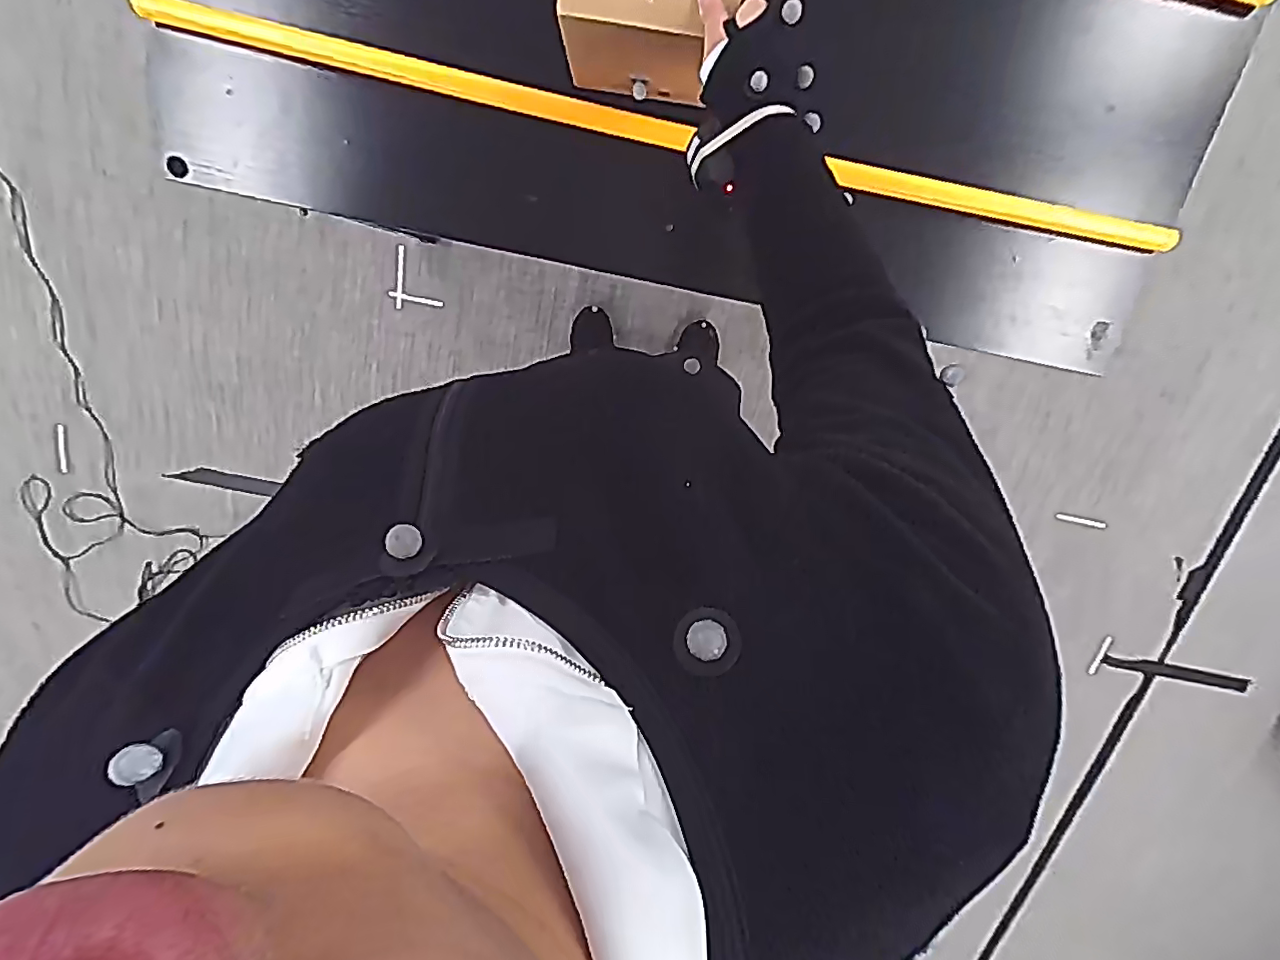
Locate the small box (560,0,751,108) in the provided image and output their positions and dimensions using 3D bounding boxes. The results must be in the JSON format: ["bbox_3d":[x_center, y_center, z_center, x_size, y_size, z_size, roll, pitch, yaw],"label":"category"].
[{"bbox_3d":[0.021,-0.498,0.521,0.168,0.176,0.179,8,108,-3],"label":"small box"}]
